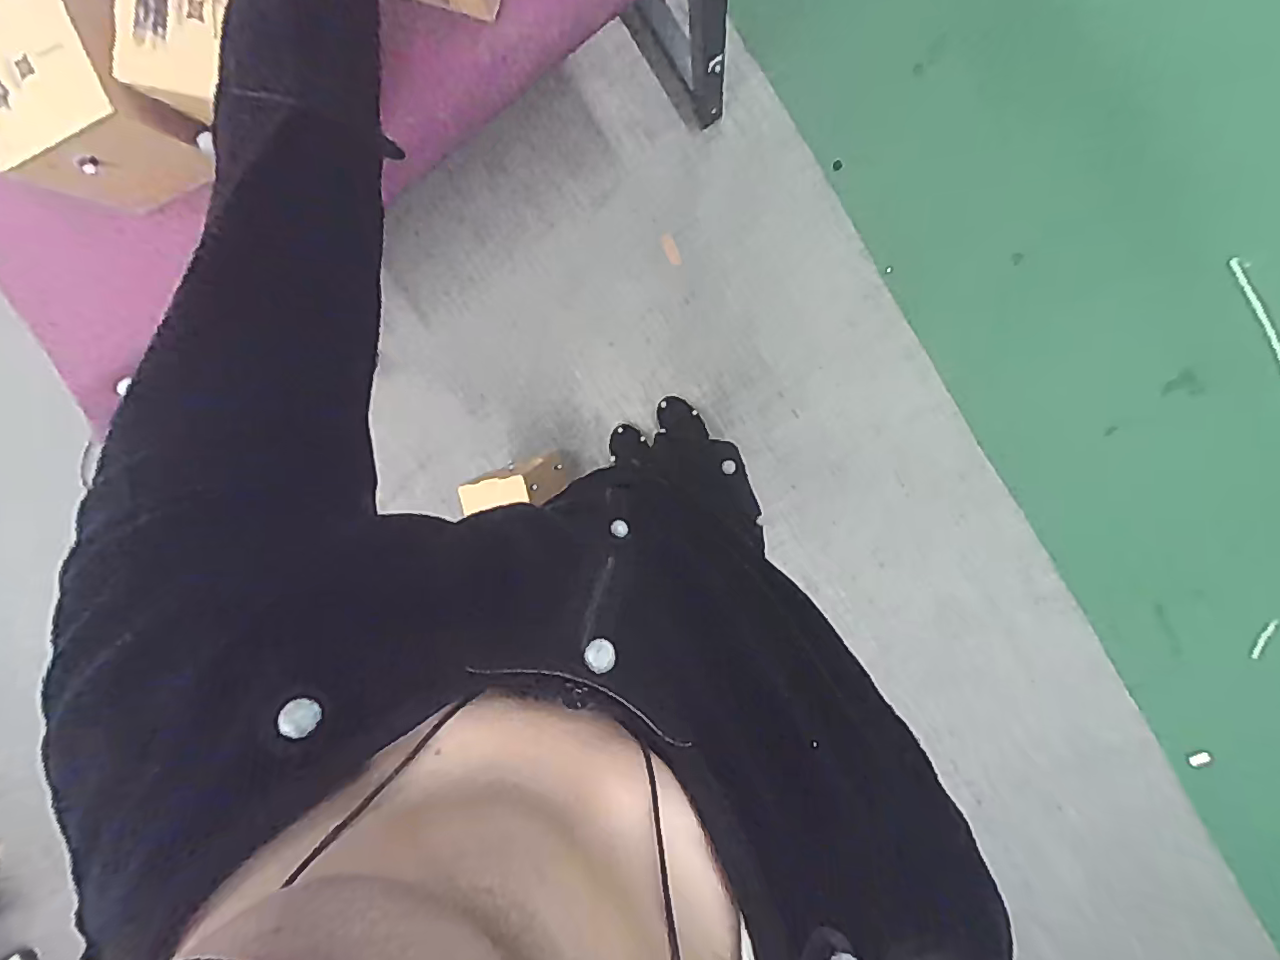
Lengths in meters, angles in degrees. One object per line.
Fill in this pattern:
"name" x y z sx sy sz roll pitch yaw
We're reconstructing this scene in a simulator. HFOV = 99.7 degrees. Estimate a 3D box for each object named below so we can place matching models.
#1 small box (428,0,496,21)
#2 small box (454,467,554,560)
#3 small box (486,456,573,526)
"small box" -0.243 -0.656 0.584 0.168 0.176 0.179 19 103 3
"small box" -0.322 0.077 1.321 0.168 0.176 0.179 -10 99 10
"small box" -0.298 0.039 1.476 0.168 0.176 0.179 -16 100 10
